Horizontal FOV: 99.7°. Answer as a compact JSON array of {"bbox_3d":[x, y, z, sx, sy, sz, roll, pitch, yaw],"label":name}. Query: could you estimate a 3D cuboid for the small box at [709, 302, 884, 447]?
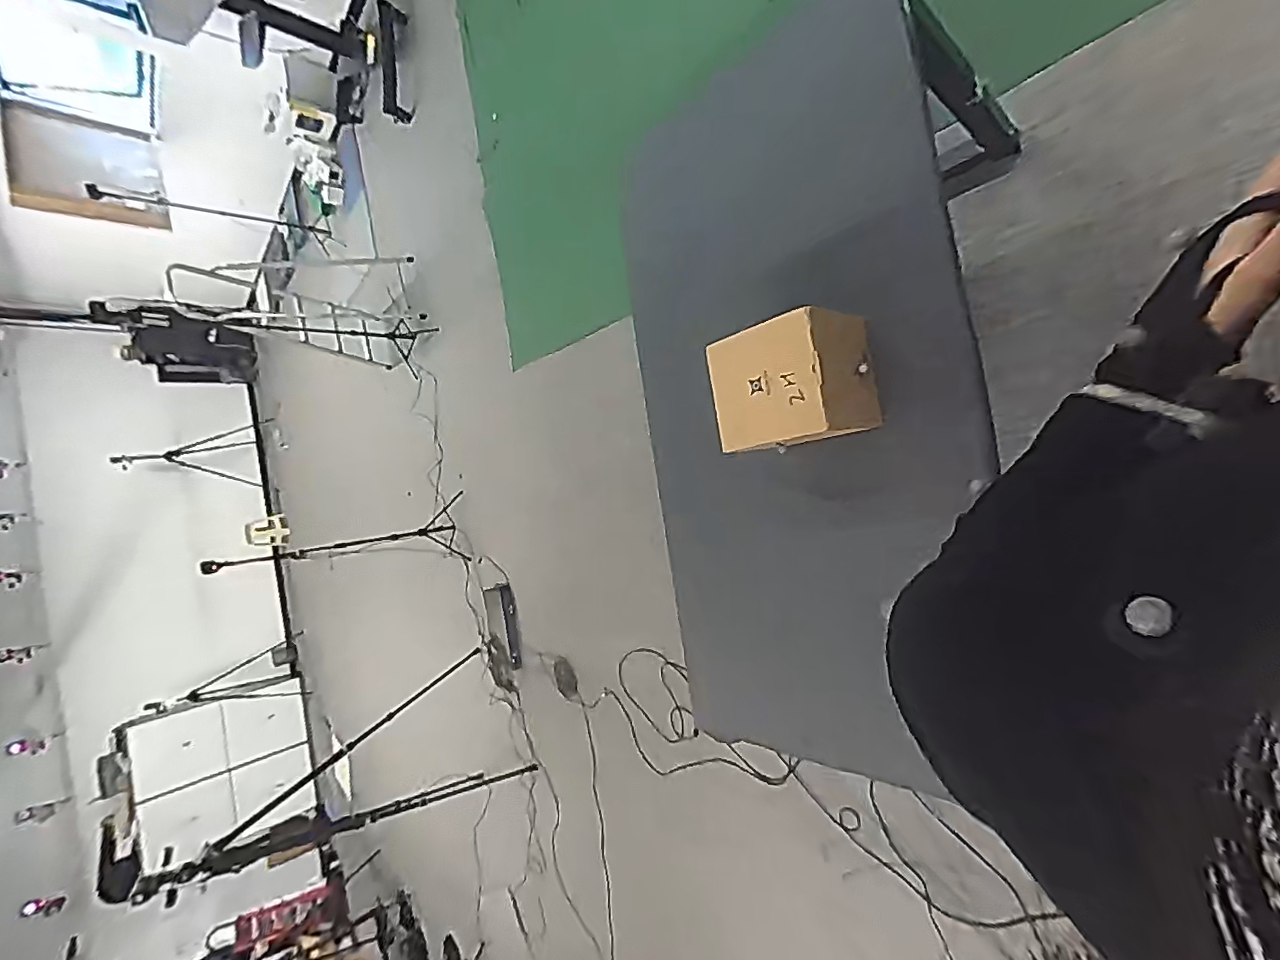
[{"bbox_3d":[0.232,-0.146,0.804,0.179,0.176,0.168,-12,88,48],"label":"small box"}]
